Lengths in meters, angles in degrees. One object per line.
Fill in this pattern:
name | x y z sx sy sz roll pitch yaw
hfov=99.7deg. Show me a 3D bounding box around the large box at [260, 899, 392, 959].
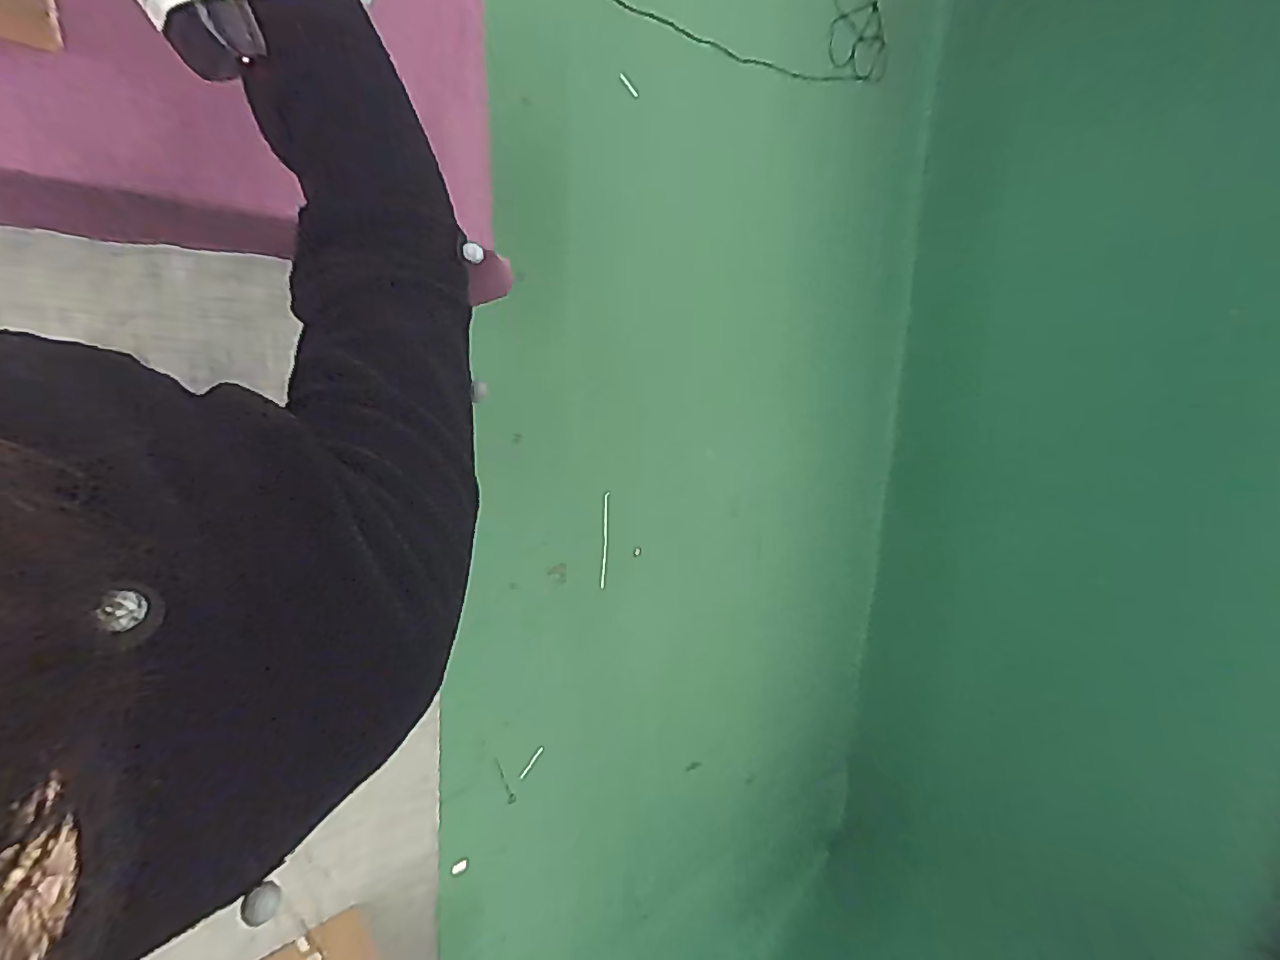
large box | -0.838 1.474 1.444 0.320 0.320 0.408 -8 105 -43
